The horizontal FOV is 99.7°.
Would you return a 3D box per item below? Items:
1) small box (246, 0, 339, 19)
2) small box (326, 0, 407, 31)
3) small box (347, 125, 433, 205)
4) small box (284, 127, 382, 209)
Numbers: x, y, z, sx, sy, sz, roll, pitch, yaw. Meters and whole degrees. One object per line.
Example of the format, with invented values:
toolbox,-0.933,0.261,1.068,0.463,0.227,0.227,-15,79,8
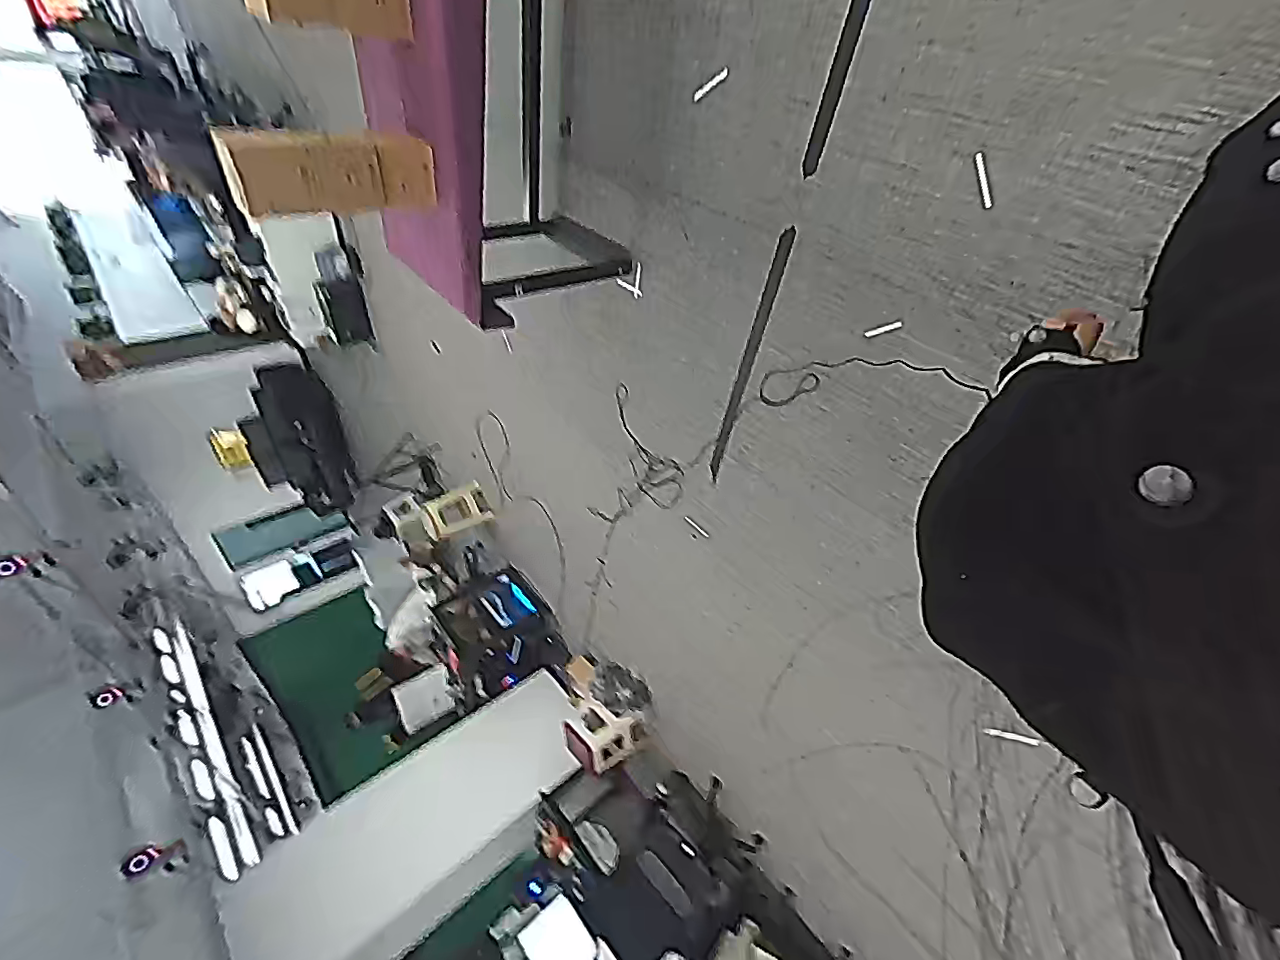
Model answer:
small box,-0.811,-1.179,1.235,0.179,0.176,0.168,42,140,29
small box,-0.690,-1.228,1.332,0.179,0.176,0.168,41,139,30
small box,-0.715,-0.920,1.571,0.179,0.176,0.168,41,140,31
small box,-0.822,-0.851,1.466,0.179,0.176,0.168,36,137,34
